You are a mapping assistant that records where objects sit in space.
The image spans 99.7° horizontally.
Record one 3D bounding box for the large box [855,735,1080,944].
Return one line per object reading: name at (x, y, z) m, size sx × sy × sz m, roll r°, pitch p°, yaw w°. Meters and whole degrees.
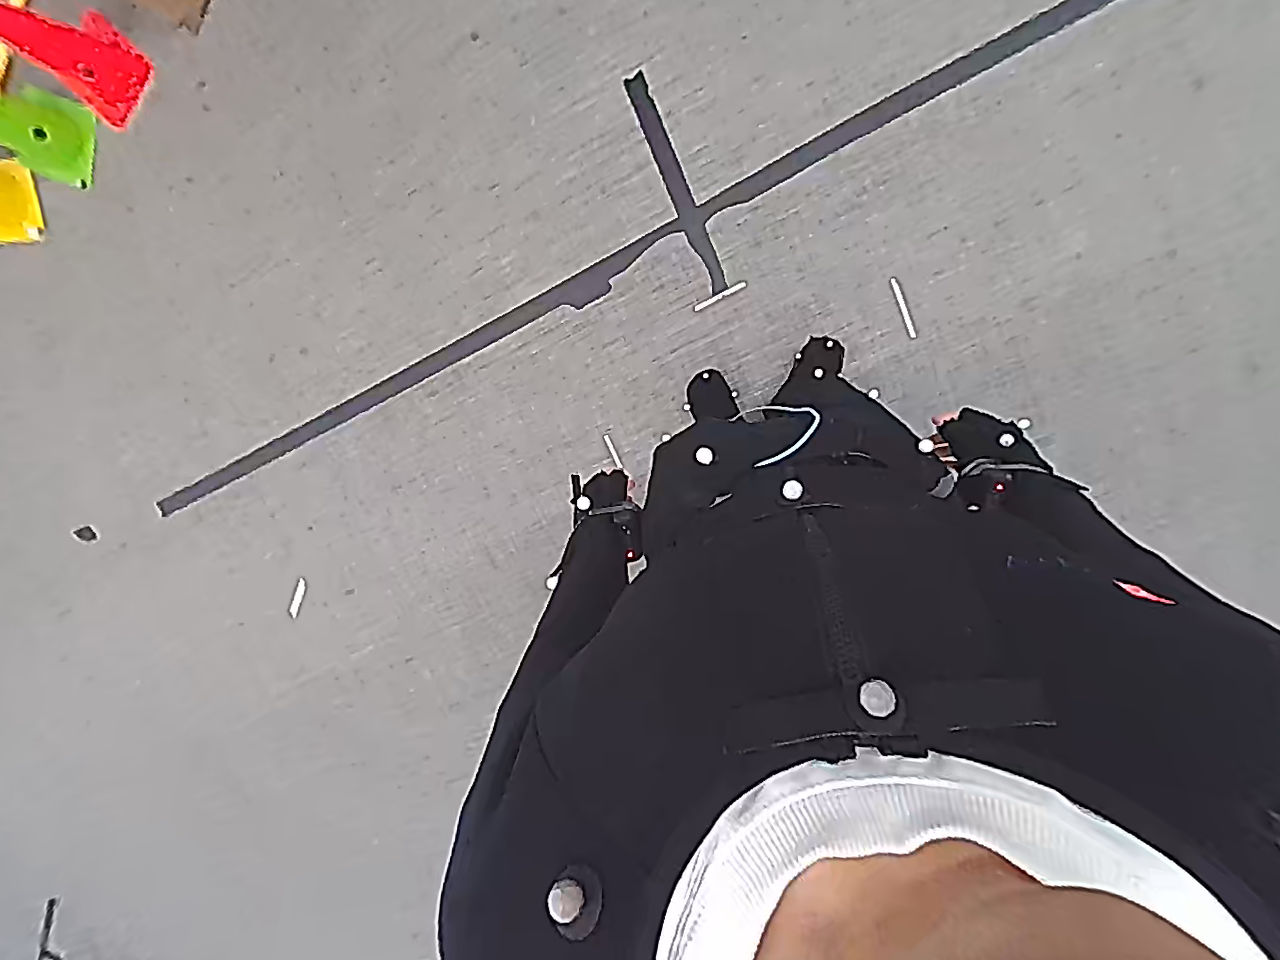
large box at (0.844, 0.940, 1.444) m, size 0.408 × 0.320 × 0.320 m, roll -13°, pitch 102°, yaw 7°
